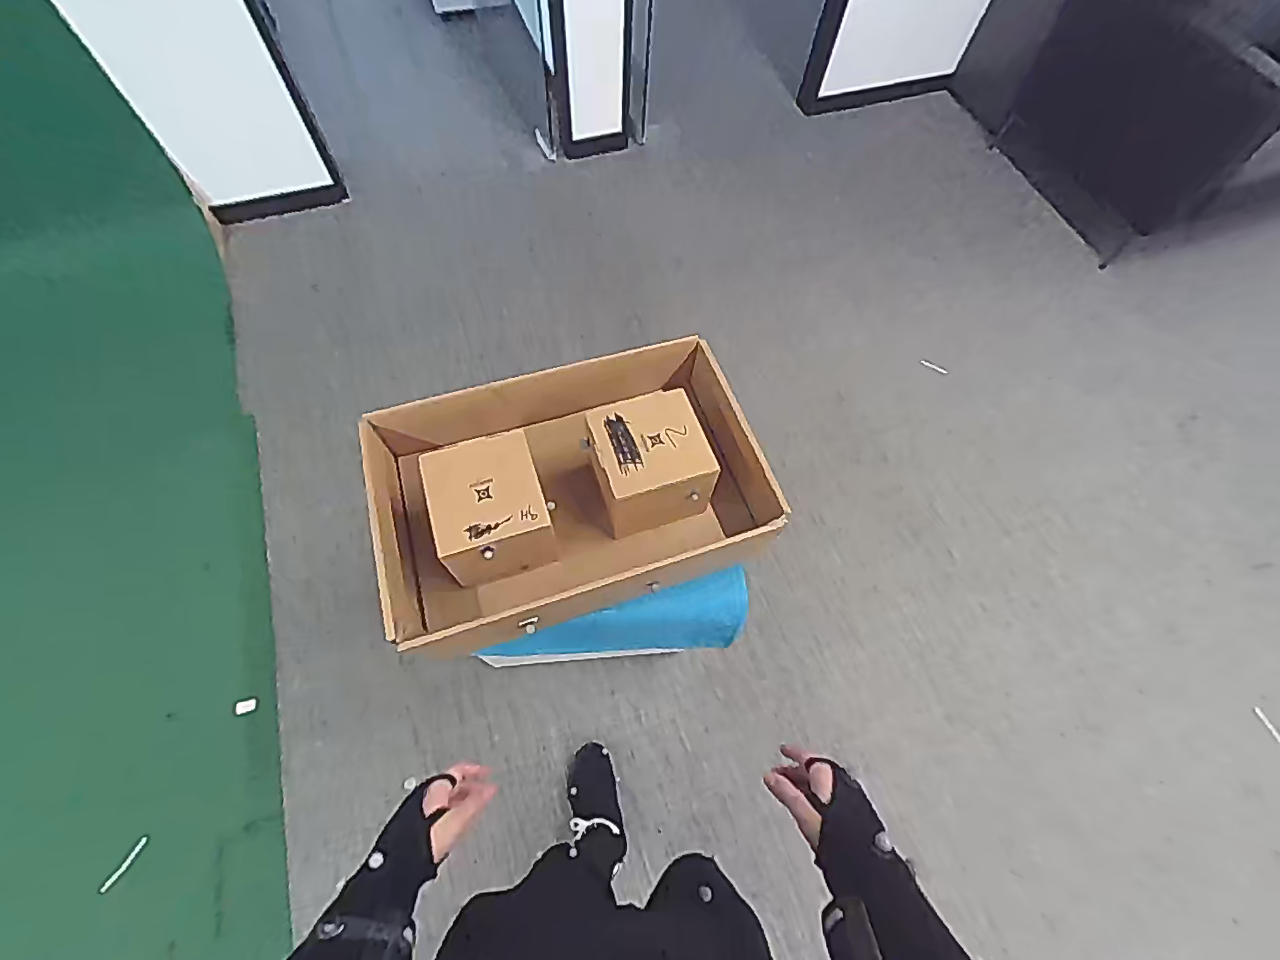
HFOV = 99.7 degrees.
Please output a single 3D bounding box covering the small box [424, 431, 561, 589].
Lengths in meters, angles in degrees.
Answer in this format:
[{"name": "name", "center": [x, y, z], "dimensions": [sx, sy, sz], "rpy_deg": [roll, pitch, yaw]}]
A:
[{"name": "small box", "center": [-0.232, 0.053, 0.876], "dimensions": [0.168, 0.176, 0.179], "rpy_deg": [-16, 64, -11]}]
